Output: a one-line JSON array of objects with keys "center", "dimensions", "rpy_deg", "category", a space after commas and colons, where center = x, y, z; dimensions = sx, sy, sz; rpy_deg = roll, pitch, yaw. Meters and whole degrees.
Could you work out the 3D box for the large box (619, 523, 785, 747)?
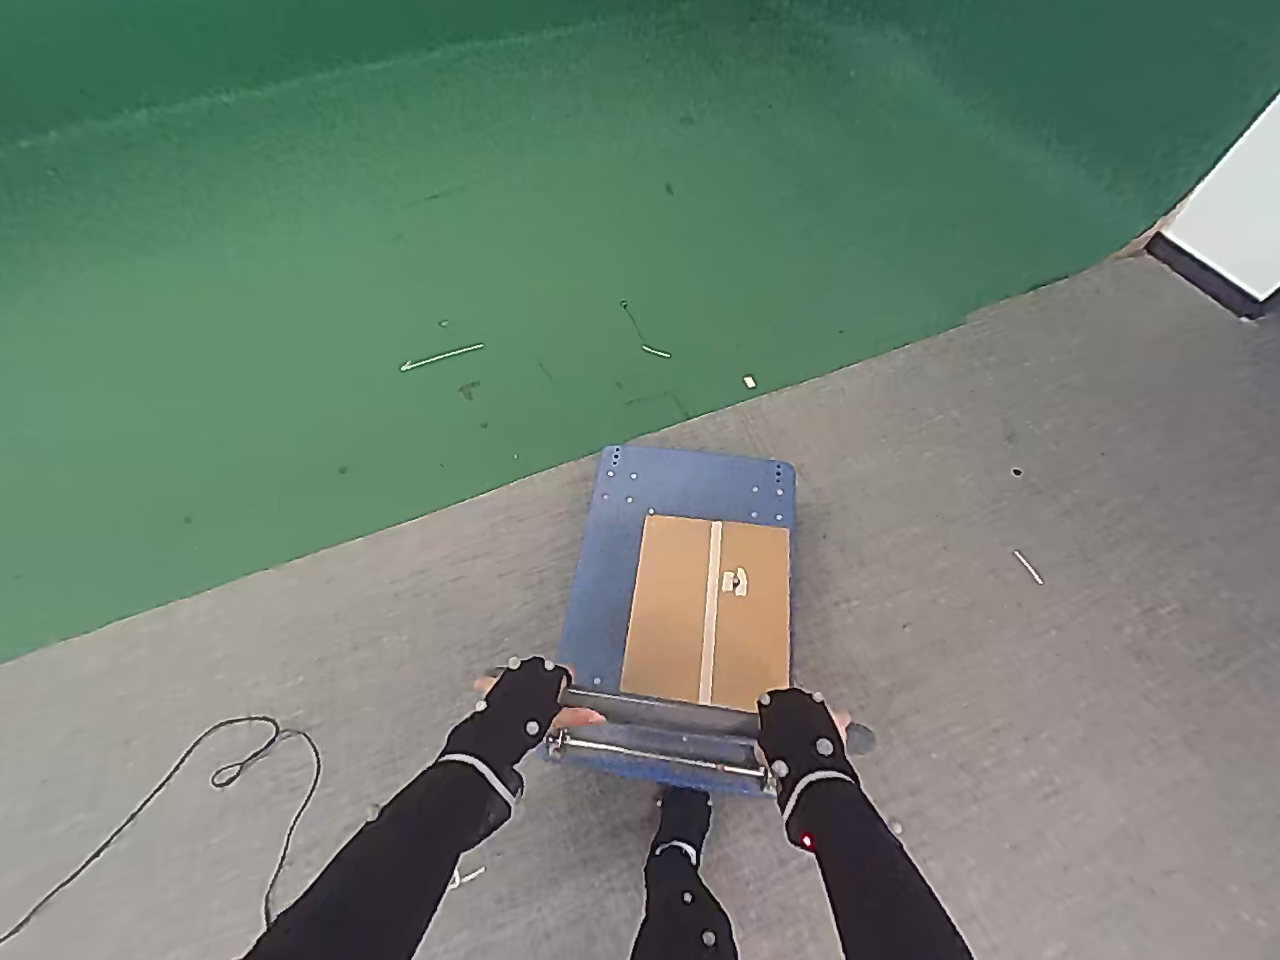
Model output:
[{"center": [0.142, 0.356, 1.224], "dimensions": [0.320, 0.320, 0.408], "rpy_deg": [6, 59, 5], "category": "large box"}]
